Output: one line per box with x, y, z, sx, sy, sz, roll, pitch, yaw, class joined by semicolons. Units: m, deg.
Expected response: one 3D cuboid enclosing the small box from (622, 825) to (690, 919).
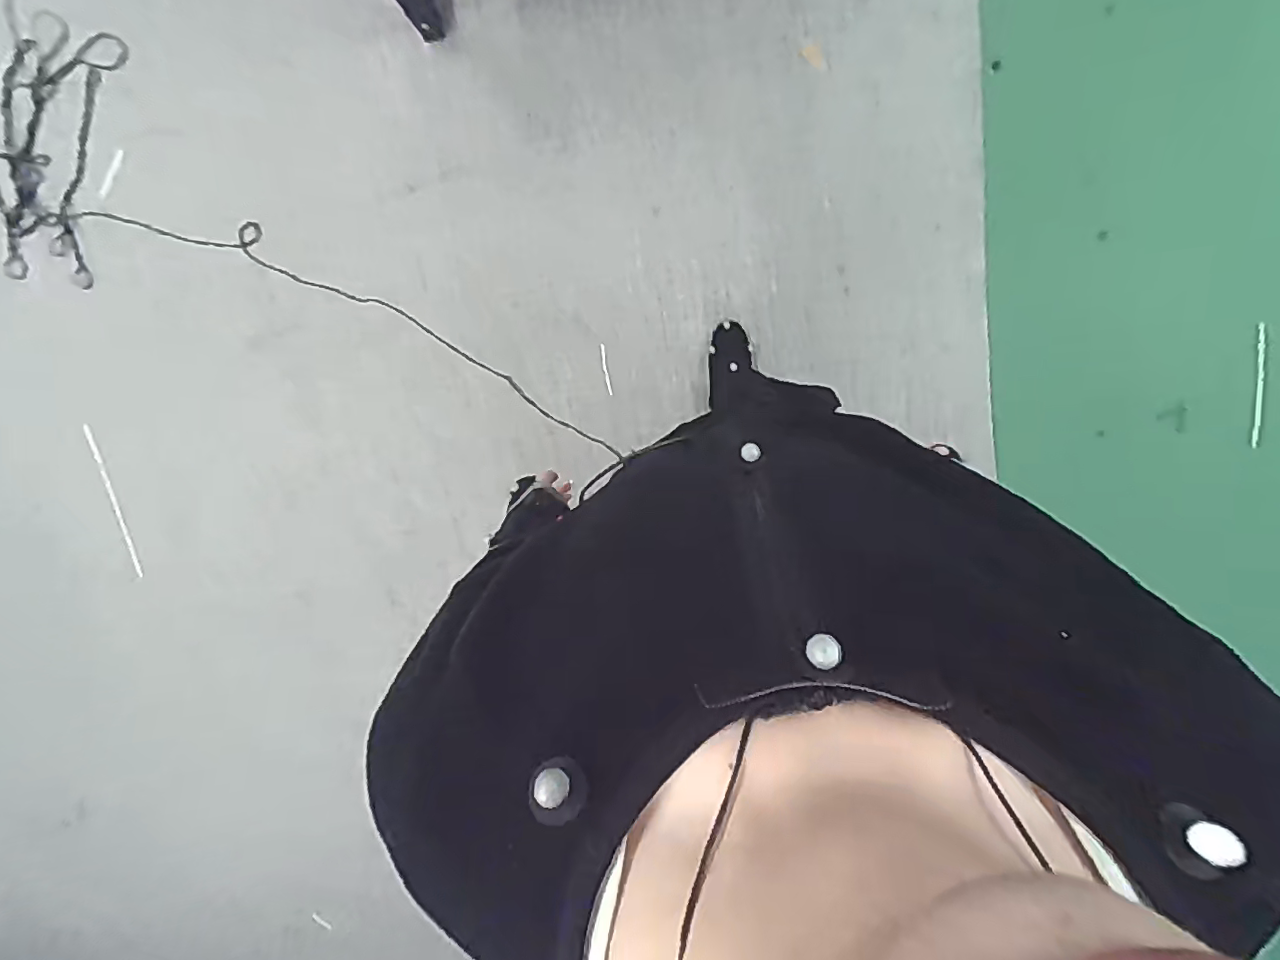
0.051;1.155;1.616;0.179;0.176;0.168;8;101;3;small box

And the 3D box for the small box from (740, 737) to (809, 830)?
0.380;0.860;1.544;0.168;0.176;0.179;-3;101;4;small box
